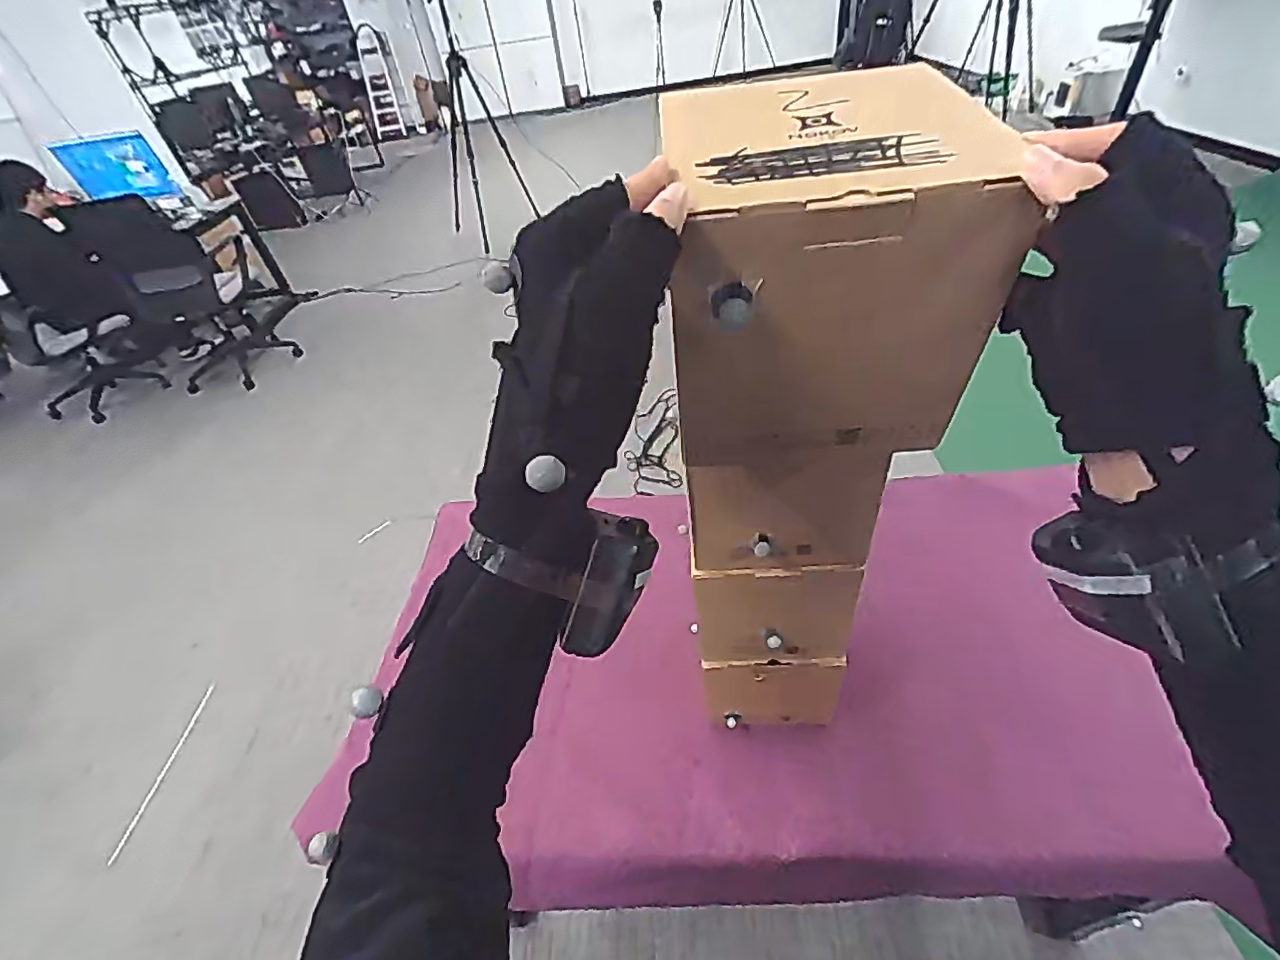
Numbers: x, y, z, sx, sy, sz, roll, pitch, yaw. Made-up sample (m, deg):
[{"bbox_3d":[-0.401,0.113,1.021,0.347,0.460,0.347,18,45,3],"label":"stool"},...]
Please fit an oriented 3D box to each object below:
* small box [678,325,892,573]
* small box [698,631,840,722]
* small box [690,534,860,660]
[{"bbox_3d":[0.125,-0.030,0.534,0.168,0.176,0.179,-5,43,7],"label":"small box"},{"bbox_3d":[0.167,0.217,0.744,0.168,0.176,0.179,-3,42,7],"label":"small box"},{"bbox_3d":[0.145,0.092,0.640,0.168,0.176,0.179,-4,43,7],"label":"small box"}]
